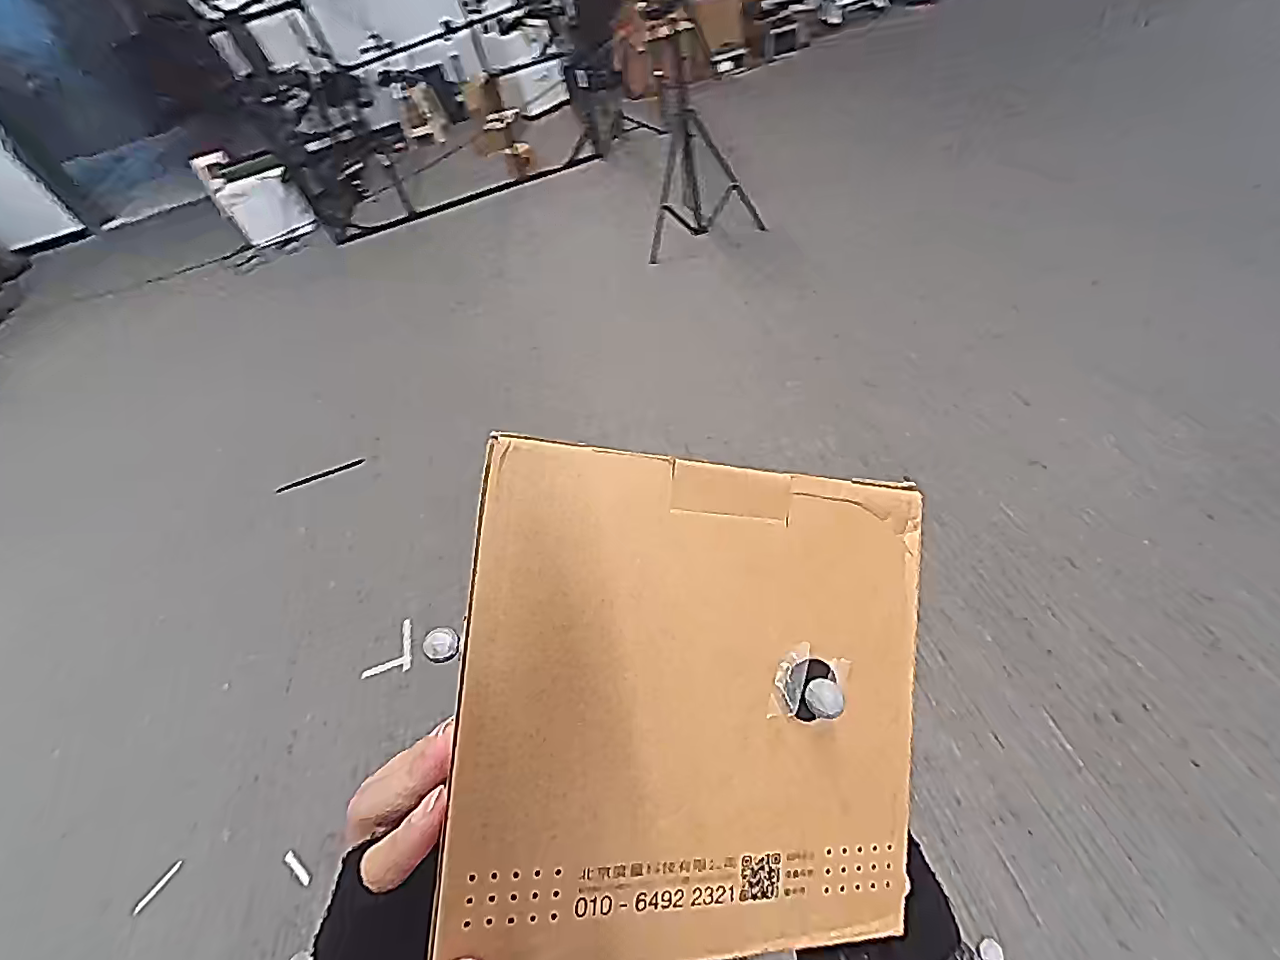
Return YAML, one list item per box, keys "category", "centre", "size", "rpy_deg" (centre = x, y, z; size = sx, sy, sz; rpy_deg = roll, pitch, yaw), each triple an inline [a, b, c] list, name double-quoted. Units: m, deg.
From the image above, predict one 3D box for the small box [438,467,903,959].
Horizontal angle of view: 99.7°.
- category: "small box"
  centre: [0.001, 0.090, 0.268]
  size: [0.168, 0.179, 0.176]
  rpy_deg: [6, 85, -14]
